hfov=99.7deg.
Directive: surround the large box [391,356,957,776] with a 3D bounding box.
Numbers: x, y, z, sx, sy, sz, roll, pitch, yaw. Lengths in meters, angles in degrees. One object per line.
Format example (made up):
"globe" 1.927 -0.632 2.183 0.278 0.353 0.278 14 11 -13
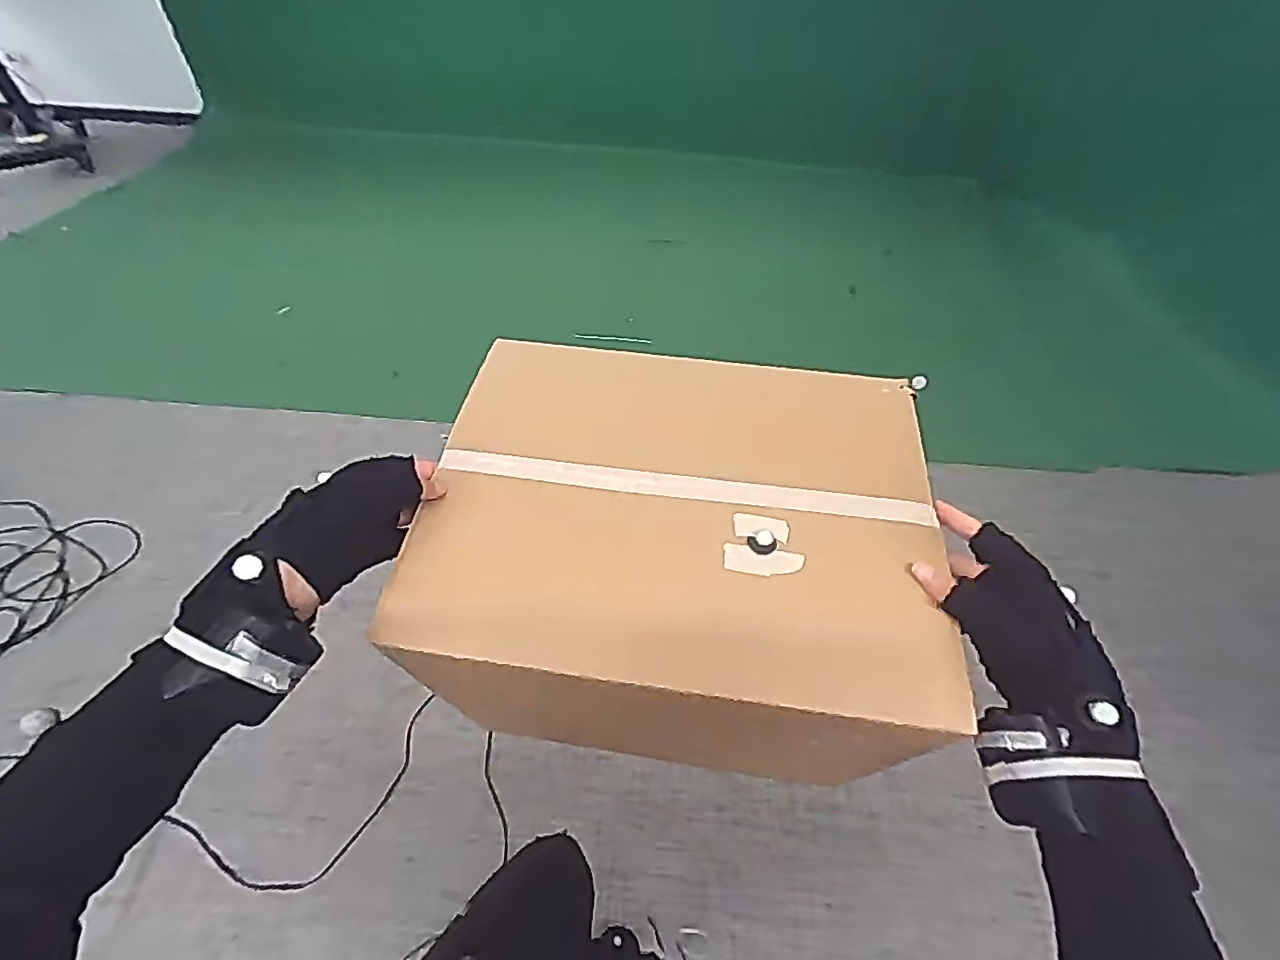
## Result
"large box" 0.033 0.100 0.578 0.408 0.320 0.320 7 56 5
